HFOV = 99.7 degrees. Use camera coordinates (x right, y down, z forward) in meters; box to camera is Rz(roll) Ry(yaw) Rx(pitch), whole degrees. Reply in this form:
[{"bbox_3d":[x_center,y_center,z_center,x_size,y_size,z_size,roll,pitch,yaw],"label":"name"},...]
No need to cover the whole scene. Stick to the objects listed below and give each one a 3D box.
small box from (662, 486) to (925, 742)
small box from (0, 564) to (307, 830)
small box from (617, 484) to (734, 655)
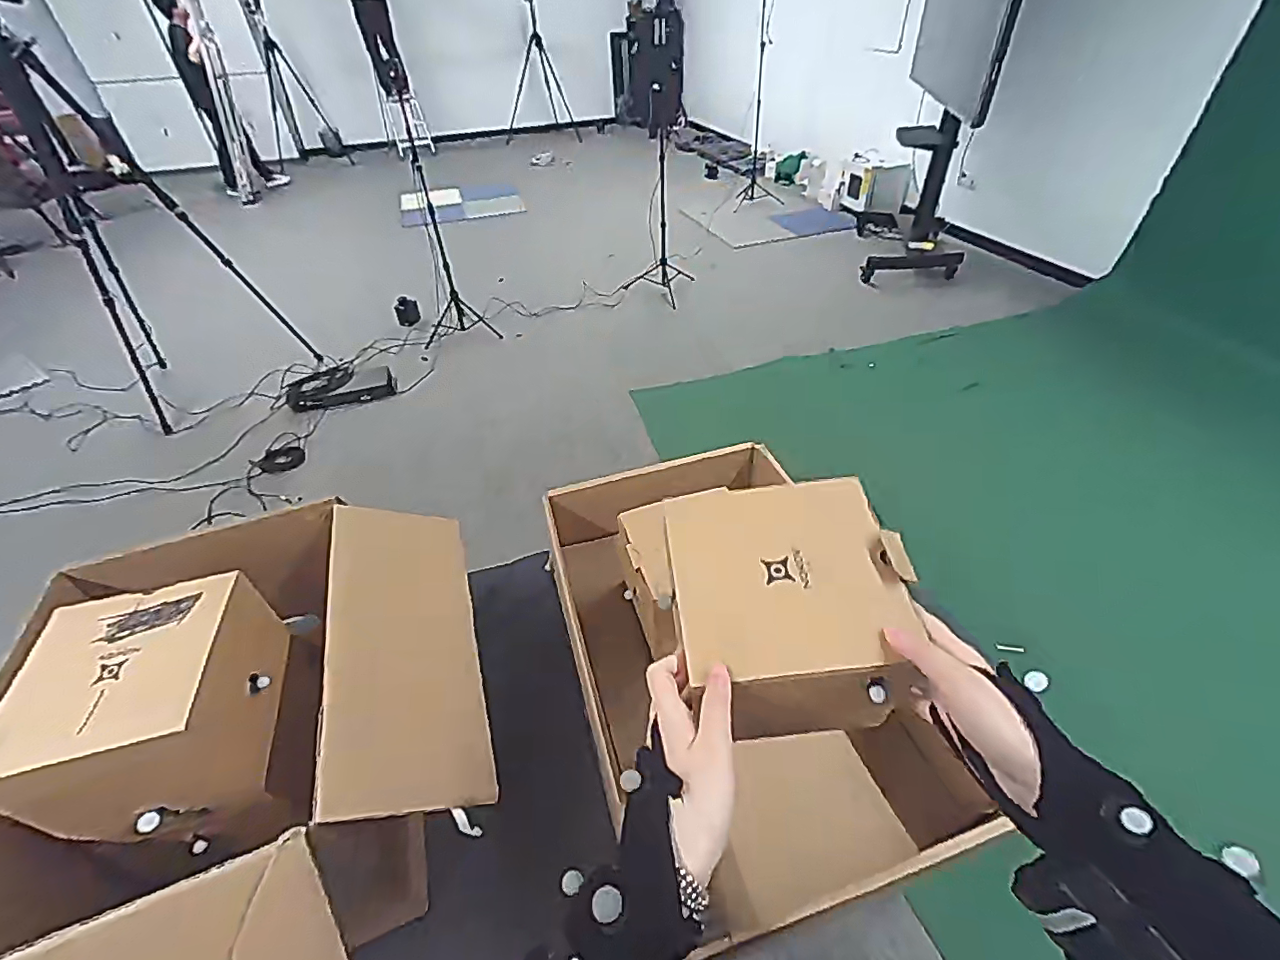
[{"bbox_3d":[0.119,0.128,0.497,0.179,0.176,0.168,-6,51,0],"label":"small box"},{"bbox_3d":[-0.468,0.217,0.549,0.168,0.176,0.179,-12,45,-10],"label":"small box"},{"bbox_3d":[0.076,0.137,0.815,0.179,0.176,0.168,-14,46,-10],"label":"small box"}]
